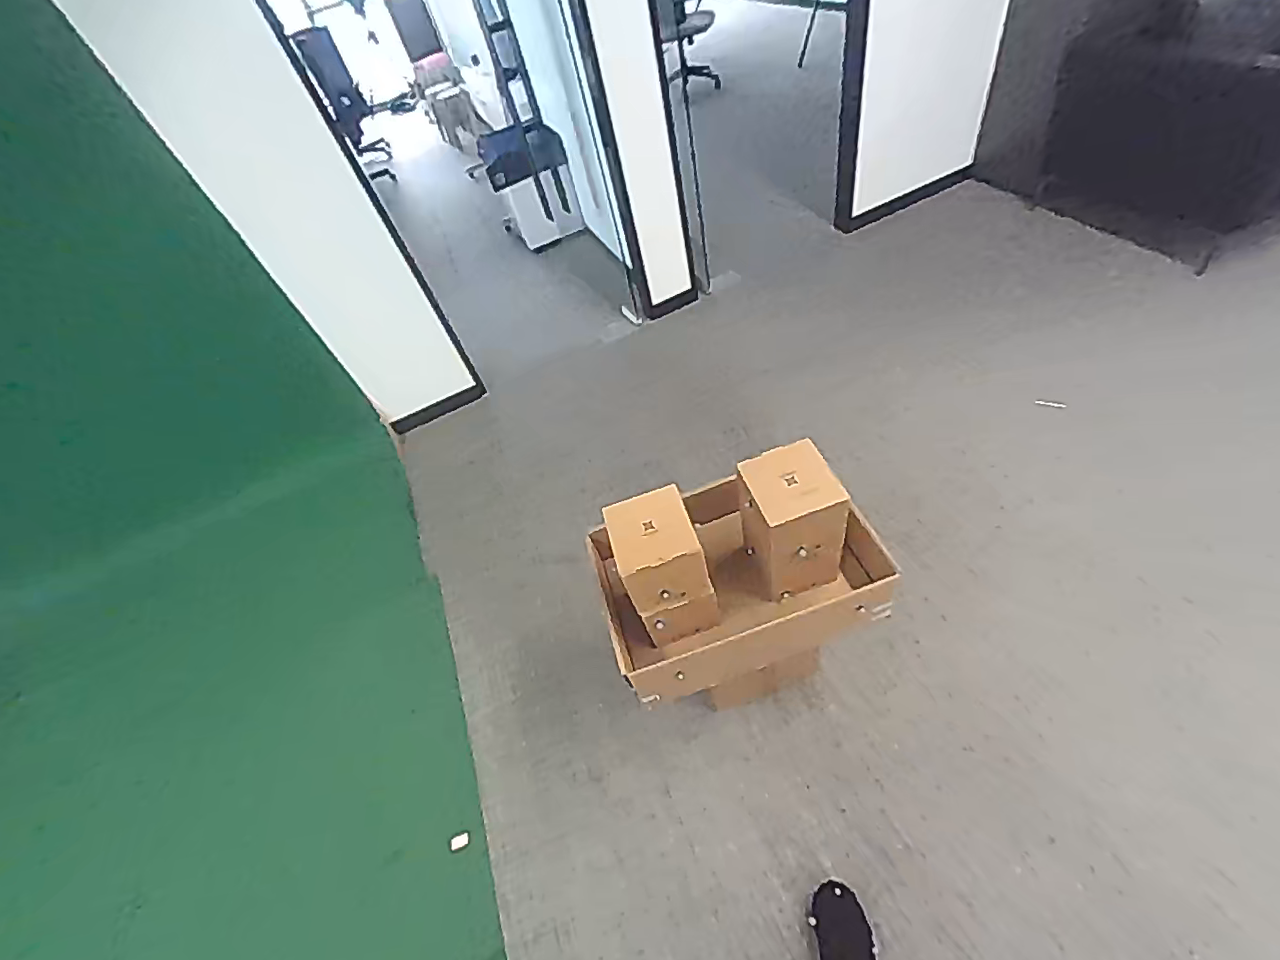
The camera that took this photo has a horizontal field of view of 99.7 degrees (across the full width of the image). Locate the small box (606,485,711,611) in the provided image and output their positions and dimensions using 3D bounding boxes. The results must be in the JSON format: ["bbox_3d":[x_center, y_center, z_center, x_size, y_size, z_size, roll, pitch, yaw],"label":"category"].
[{"bbox_3d":[0.040,0.144,1.134,0.168,0.176,0.179,-18,49,0],"label":"small box"}]

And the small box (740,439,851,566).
[{"bbox_3d":[0.319,0.050,1.133,0.168,0.176,0.179,-19,50,0],"label":"small box"}]
